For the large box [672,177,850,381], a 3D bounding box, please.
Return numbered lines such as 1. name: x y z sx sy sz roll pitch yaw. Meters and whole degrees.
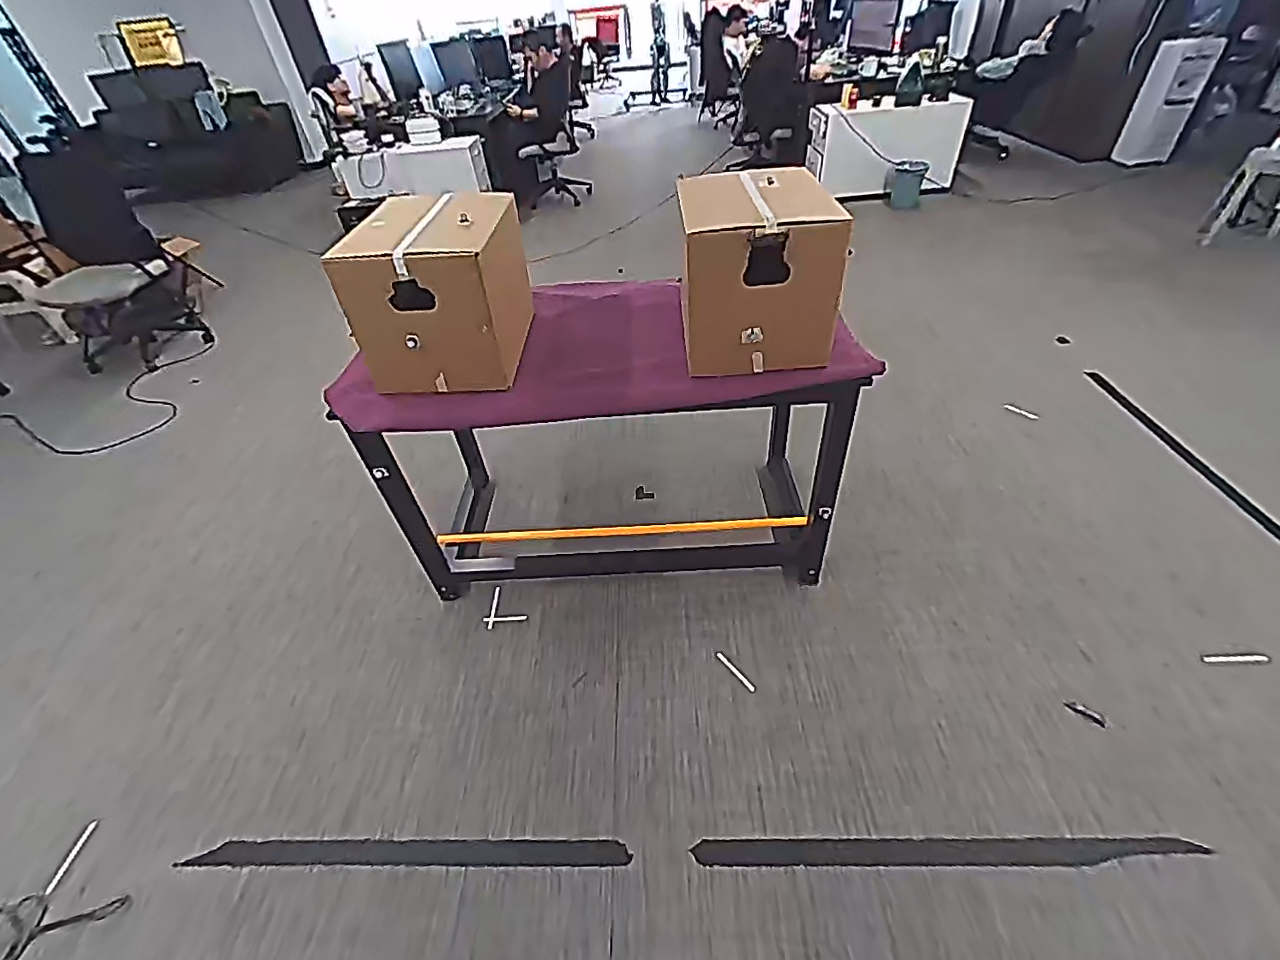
1. large box: 0.248 -0.470 1.248 0.320 0.320 0.408 -4 41 2
